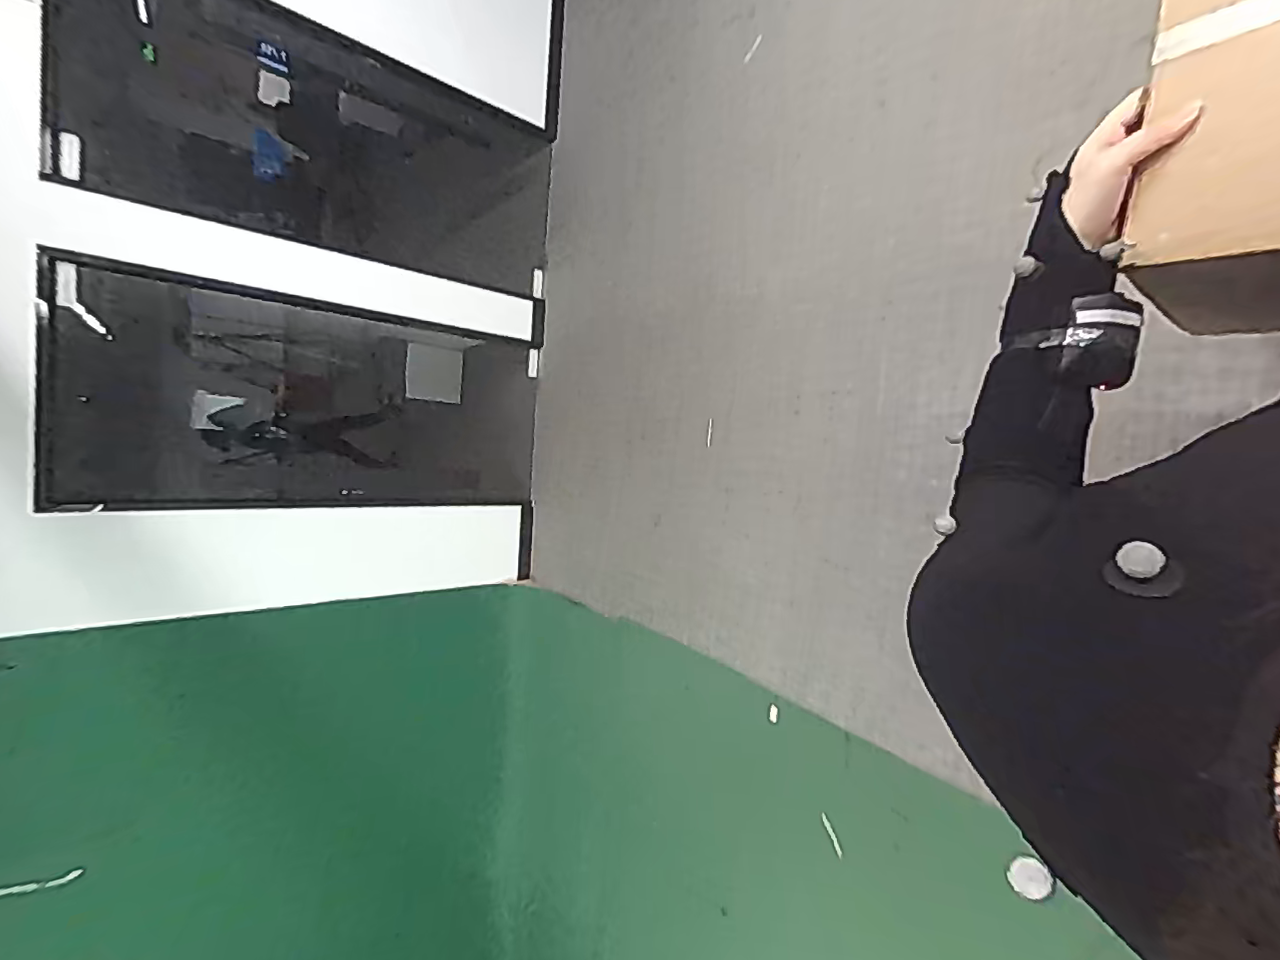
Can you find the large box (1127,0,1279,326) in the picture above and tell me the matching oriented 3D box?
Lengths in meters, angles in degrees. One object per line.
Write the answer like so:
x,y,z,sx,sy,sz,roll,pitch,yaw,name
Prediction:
0.638,-0.296,0.344,0.408,0.320,0.320,13,99,54,large box
